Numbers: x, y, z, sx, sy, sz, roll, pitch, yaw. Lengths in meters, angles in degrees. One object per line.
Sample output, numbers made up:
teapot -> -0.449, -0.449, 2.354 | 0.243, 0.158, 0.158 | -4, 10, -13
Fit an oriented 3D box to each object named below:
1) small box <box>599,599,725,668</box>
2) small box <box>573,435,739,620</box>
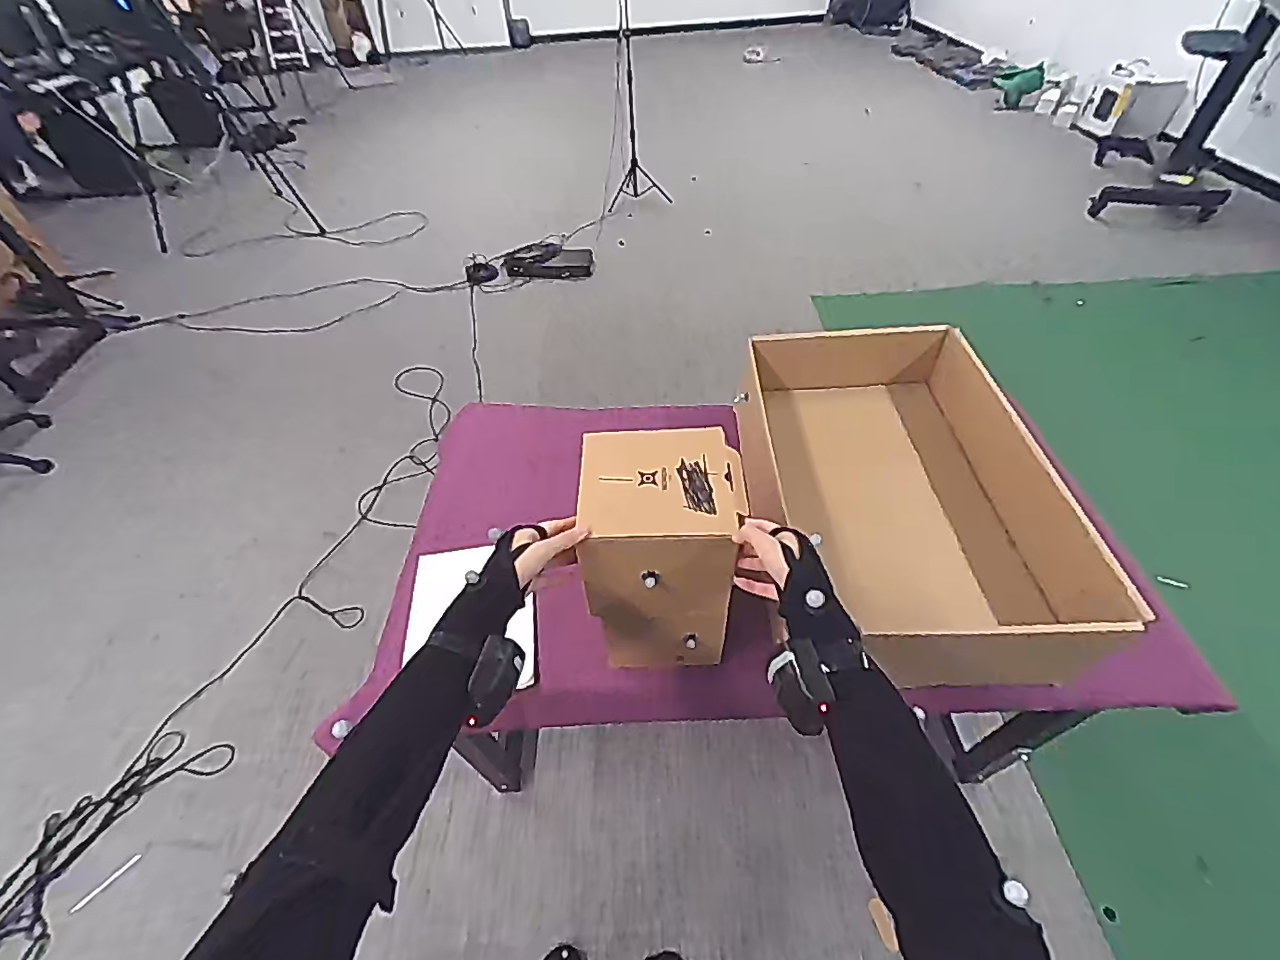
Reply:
small box -> 0.033, 0.165, 0.799 | 0.168, 0.176, 0.179 | -1, 46, 2
small box -> 0.019, 0.061, 0.673 | 0.179, 0.176, 0.168 | -2, 46, 2
